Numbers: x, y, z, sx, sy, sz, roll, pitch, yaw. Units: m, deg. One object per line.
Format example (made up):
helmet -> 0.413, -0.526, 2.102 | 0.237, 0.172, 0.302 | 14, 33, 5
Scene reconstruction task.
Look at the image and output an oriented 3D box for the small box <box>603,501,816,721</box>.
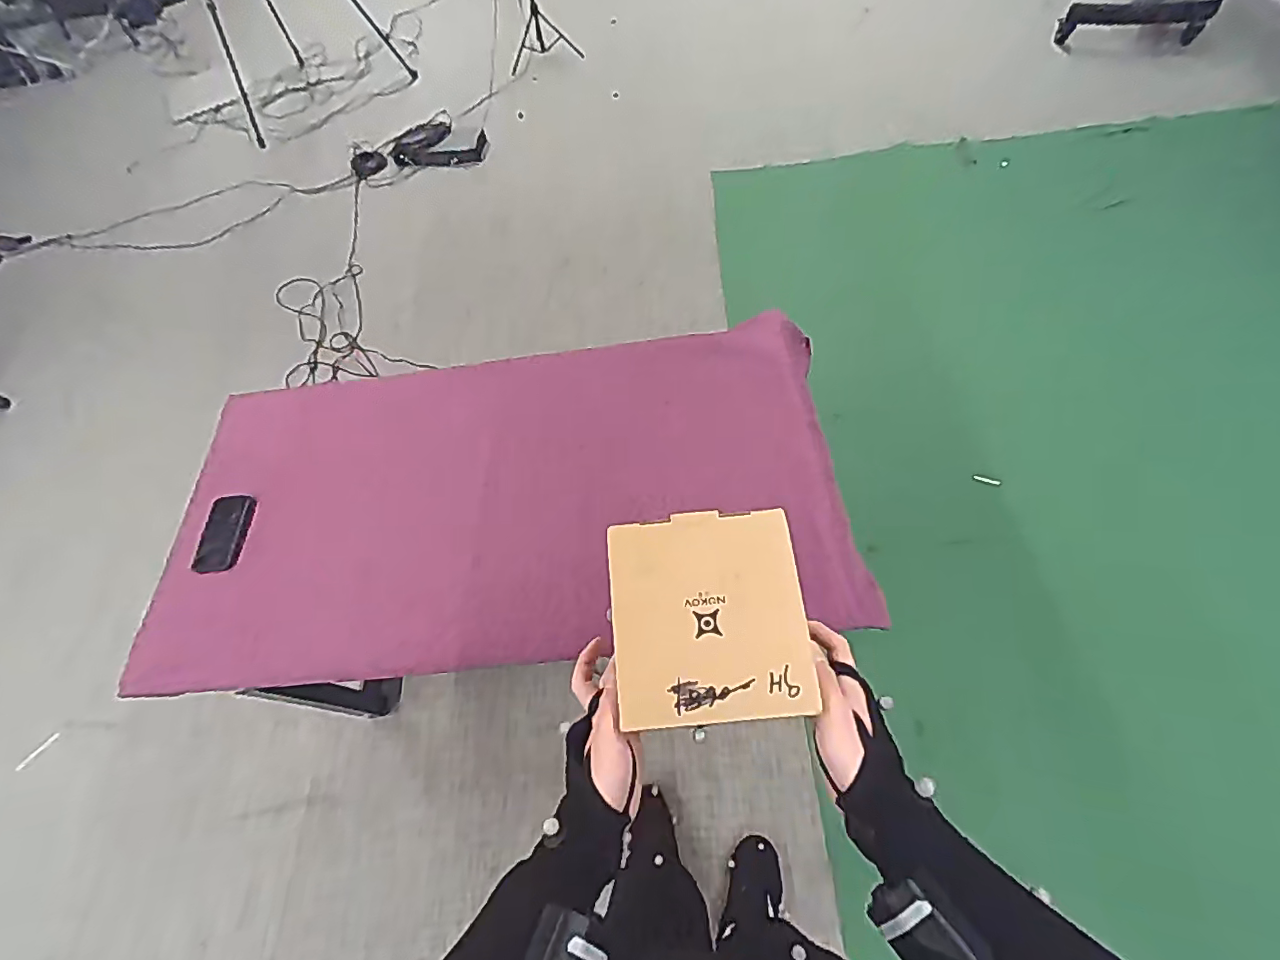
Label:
small box -> 0.057, 0.137, 0.531 | 0.168, 0.176, 0.179 | -6, 67, 3
